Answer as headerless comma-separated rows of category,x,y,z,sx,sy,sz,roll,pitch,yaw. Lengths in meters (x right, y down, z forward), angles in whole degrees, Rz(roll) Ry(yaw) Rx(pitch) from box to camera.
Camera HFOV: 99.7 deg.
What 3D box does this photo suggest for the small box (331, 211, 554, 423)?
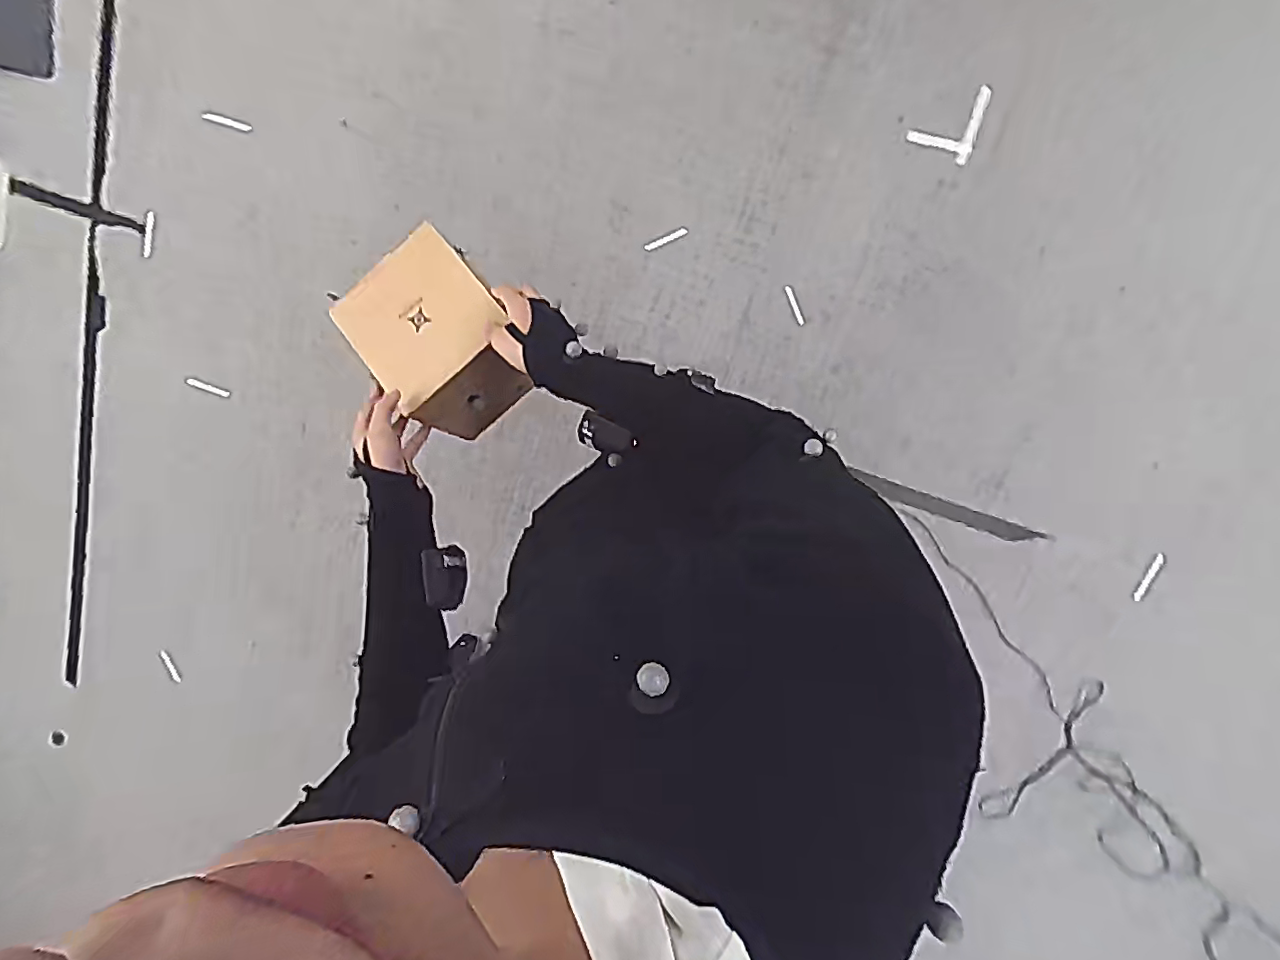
small box,-0.237,-0.190,0.694,0.168,0.176,0.179,-40,79,3
